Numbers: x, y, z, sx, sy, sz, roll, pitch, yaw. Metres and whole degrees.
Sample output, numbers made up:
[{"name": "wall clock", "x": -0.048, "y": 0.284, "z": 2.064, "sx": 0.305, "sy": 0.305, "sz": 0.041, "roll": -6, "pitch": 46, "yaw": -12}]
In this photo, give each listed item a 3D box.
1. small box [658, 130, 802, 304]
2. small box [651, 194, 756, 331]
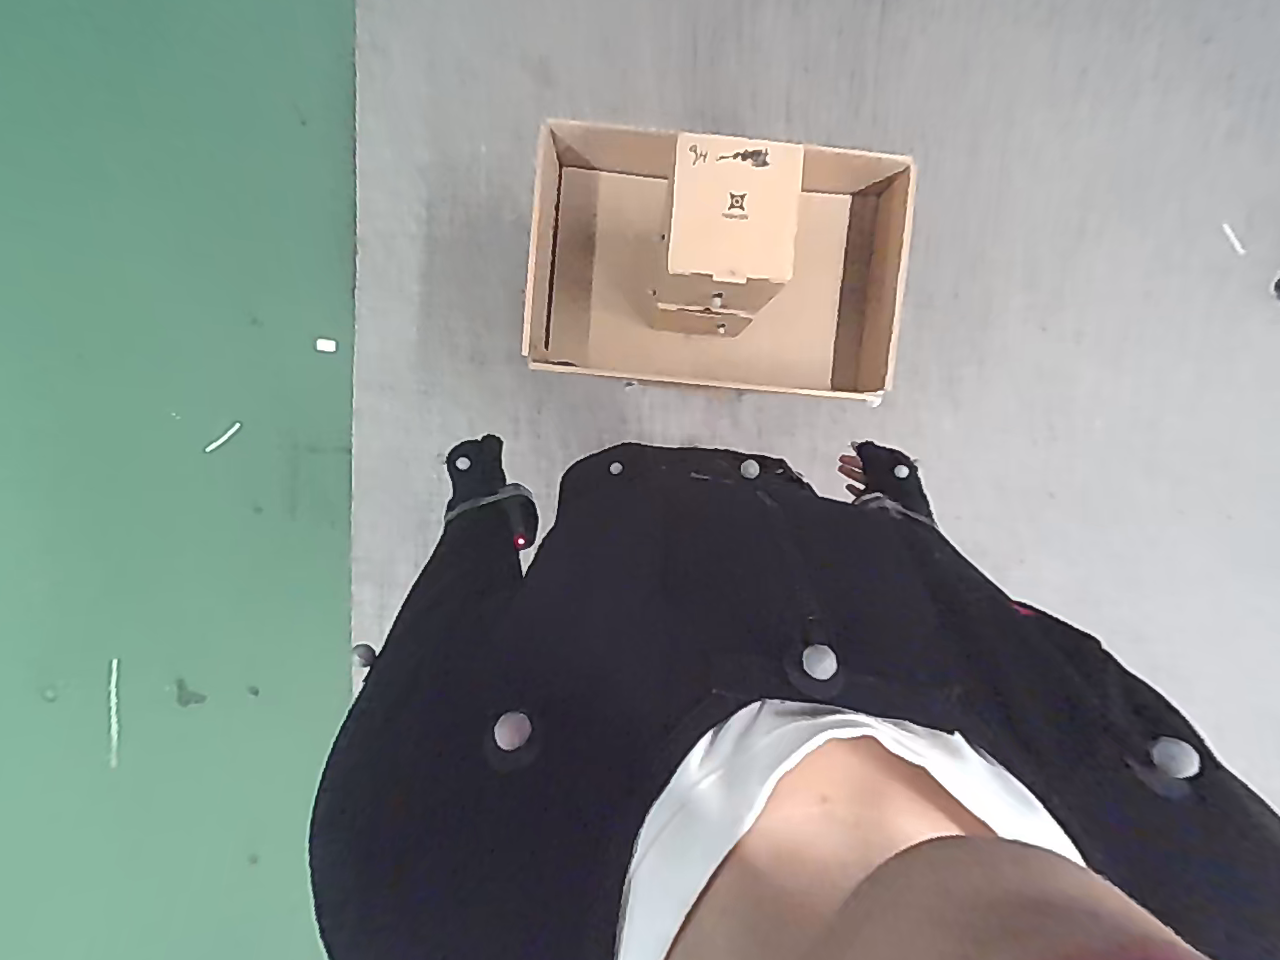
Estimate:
[{"name": "small box", "x": 0.117, "y": -0.361, "z": 0.778, "sx": 0.168, "sy": 0.176, "sz": 0.179, "roll": 4, "pitch": 95, "yaw": -3}, {"name": "small box", "x": 0.110, "y": -0.366, "z": 0.941, "sx": 0.168, "sy": 0.176, "sz": 0.179, "roll": 4, "pitch": 93, "yaw": -3}]
